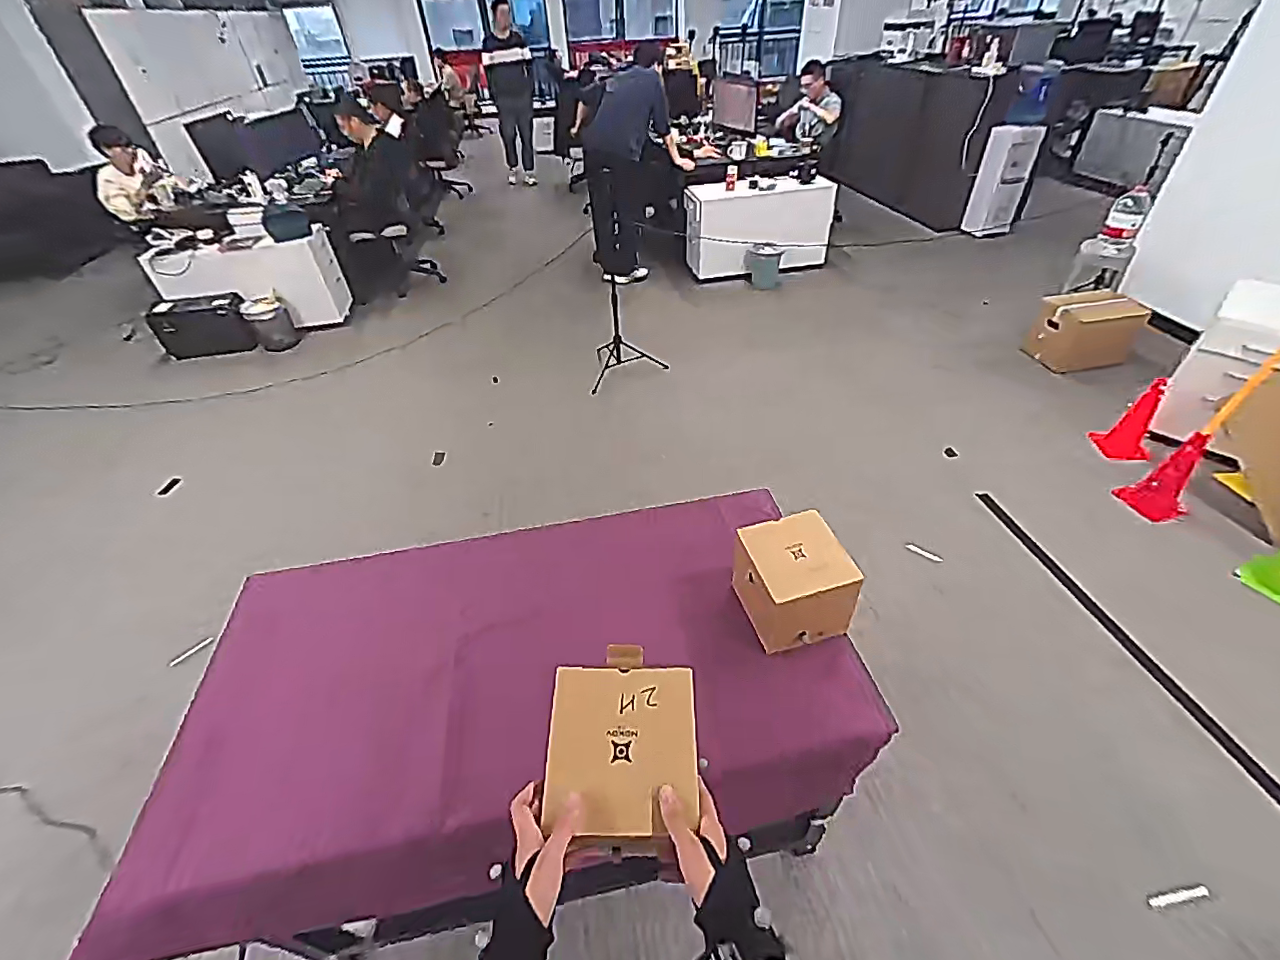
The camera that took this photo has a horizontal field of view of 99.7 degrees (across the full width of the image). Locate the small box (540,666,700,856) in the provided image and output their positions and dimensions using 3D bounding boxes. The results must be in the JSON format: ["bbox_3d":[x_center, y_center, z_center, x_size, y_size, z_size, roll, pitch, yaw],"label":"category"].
[{"bbox_3d":[-0.018,0.344,0.655,0.168,0.176,0.179,1,50,0],"label":"small box"}]

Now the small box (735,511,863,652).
[{"bbox_3d":[0.285,0.190,1.015,0.168,0.176,0.179,-13,42,-8],"label":"small box"}]
